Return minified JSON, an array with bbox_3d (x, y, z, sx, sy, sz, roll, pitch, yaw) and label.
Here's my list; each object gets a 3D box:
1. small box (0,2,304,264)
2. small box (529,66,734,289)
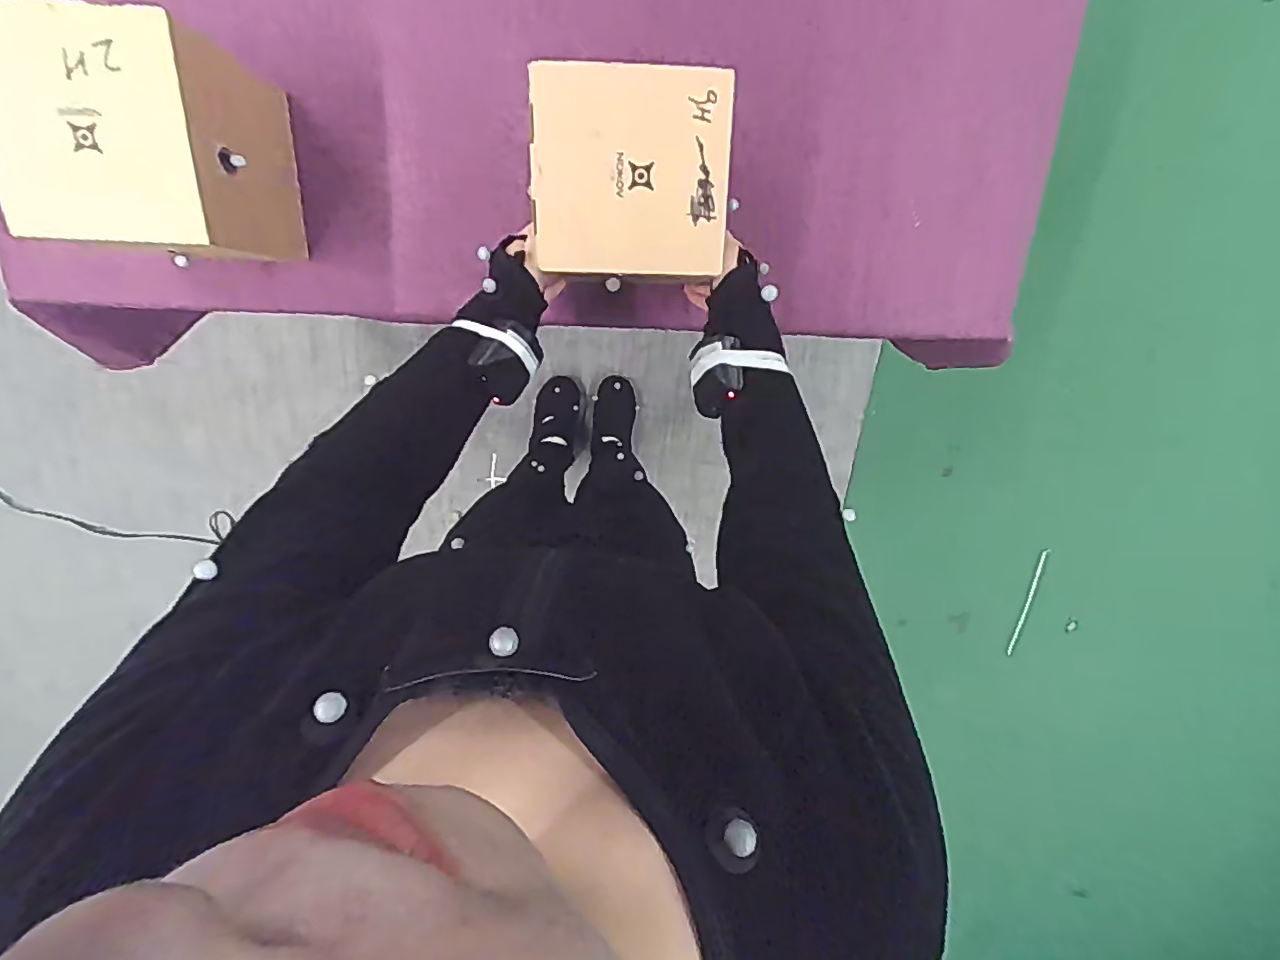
[{"bbox_3d":[-0.457,-0.311,0.524,0.168,0.176,0.179,2,107,-4],"label":"small box"},{"bbox_3d":[-0.012,-0.289,0.554,0.179,0.176,0.168,1,107,-2],"label":"small box"}]
